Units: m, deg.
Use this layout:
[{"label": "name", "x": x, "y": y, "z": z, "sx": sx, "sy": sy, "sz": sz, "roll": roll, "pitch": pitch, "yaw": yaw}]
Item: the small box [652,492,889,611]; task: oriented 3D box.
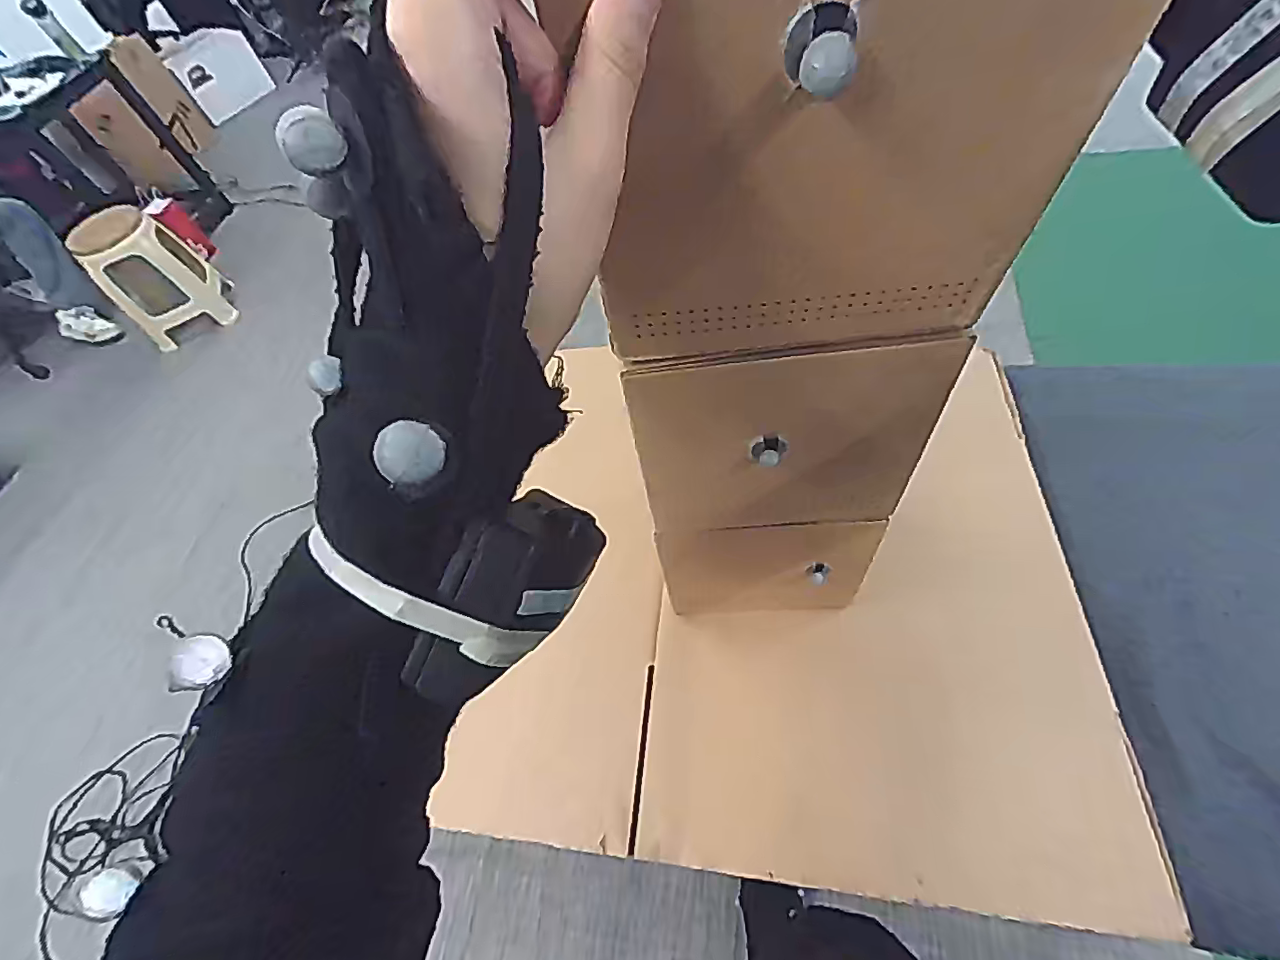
[{"label": "small box", "x": 0.107, "y": 0.015, "z": 0.510, "sx": 0.179, "sy": 0.176, "sz": 0.168, "roll": -5, "pitch": 54, "yaw": 7}]

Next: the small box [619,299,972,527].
[{"label": "small box", "x": 0.085, "y": -0.081, "z": 0.377, "sx": 0.179, "sy": 0.176, "sz": 0.168, "roll": -5, "pitch": 54, "yaw": 7}]

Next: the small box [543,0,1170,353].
[{"label": "small box", "x": 0.065, "y": -0.176, "z": 0.231, "sx": 0.179, "sy": 0.176, "sz": 0.168, "roll": -5, "pitch": 62, "yaw": 6}]
